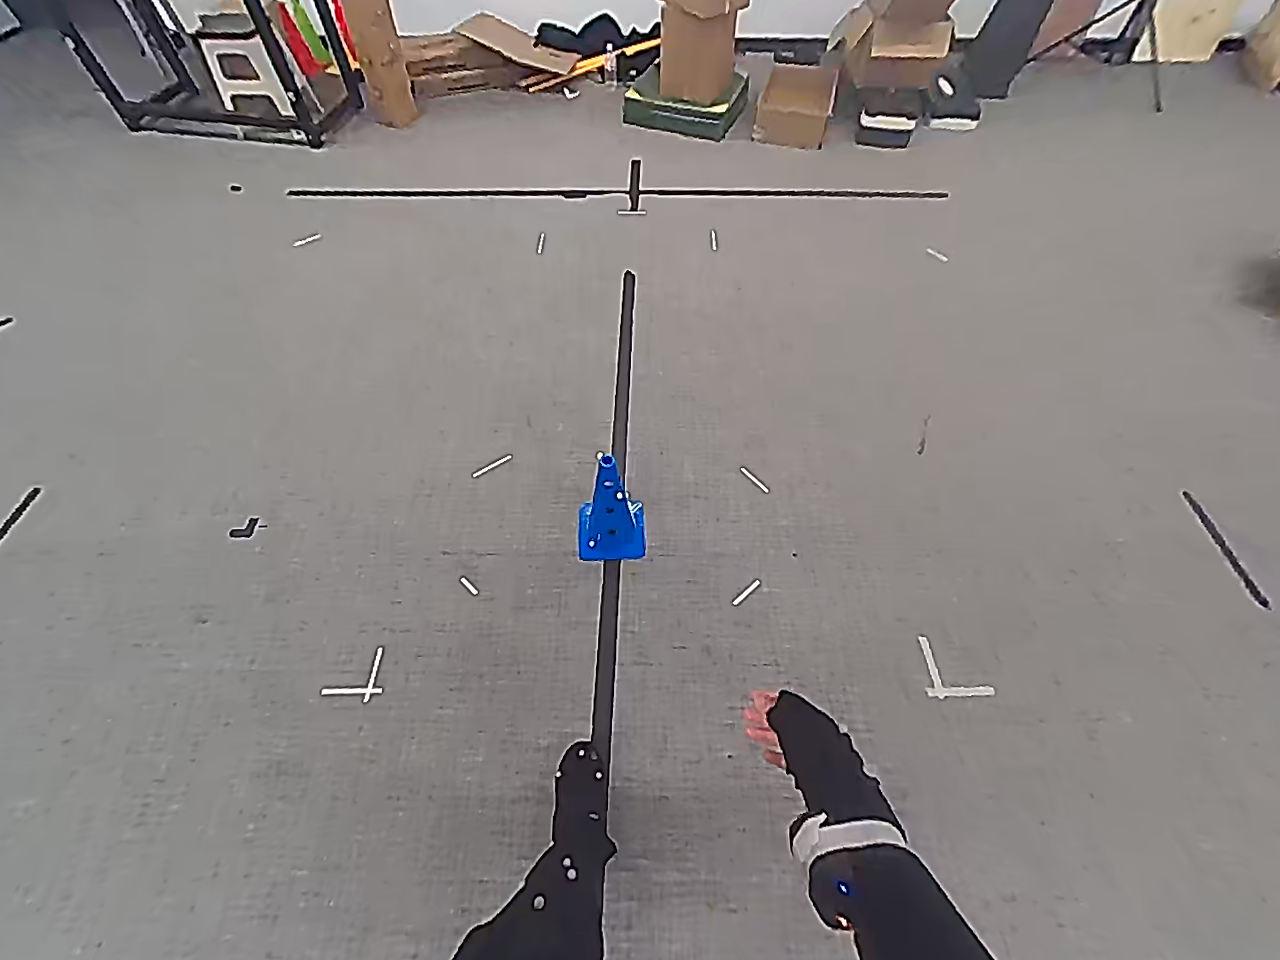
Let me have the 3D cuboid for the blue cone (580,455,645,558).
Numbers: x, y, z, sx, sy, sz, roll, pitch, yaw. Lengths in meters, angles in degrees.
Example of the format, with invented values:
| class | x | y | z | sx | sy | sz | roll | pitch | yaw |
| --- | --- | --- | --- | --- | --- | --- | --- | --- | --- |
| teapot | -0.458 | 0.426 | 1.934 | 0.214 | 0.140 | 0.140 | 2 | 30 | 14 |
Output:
| class | x | y | z | sx | sy | sz | roll | pitch | yaw |
| --- | --- | --- | --- | --- | --- | --- | --- | --- | --- |
| blue cone | -0.082 | 0.051 | 1.486 | 0.192 | 0.380 | 0.193 | -3 | 57 | -3 |
